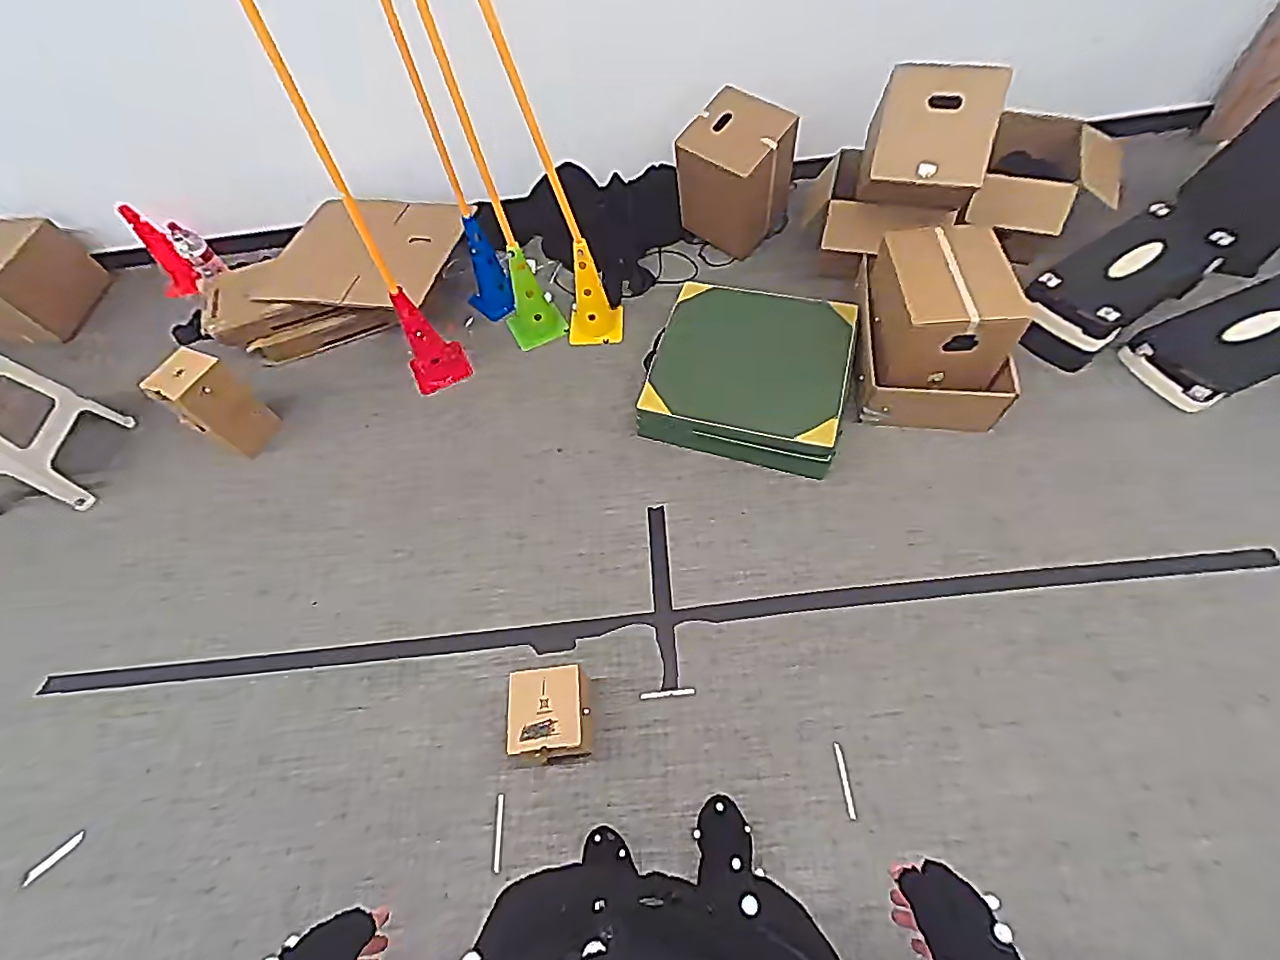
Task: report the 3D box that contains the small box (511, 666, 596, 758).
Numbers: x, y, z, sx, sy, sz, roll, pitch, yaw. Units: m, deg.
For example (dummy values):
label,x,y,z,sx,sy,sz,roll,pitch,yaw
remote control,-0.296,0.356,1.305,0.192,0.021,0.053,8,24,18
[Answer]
label,x,y,z,sx,sy,sz,roll,pitch,yaw
small box,-0.200,0.557,1.288,0.168,0.176,0.179,-7,58,2
